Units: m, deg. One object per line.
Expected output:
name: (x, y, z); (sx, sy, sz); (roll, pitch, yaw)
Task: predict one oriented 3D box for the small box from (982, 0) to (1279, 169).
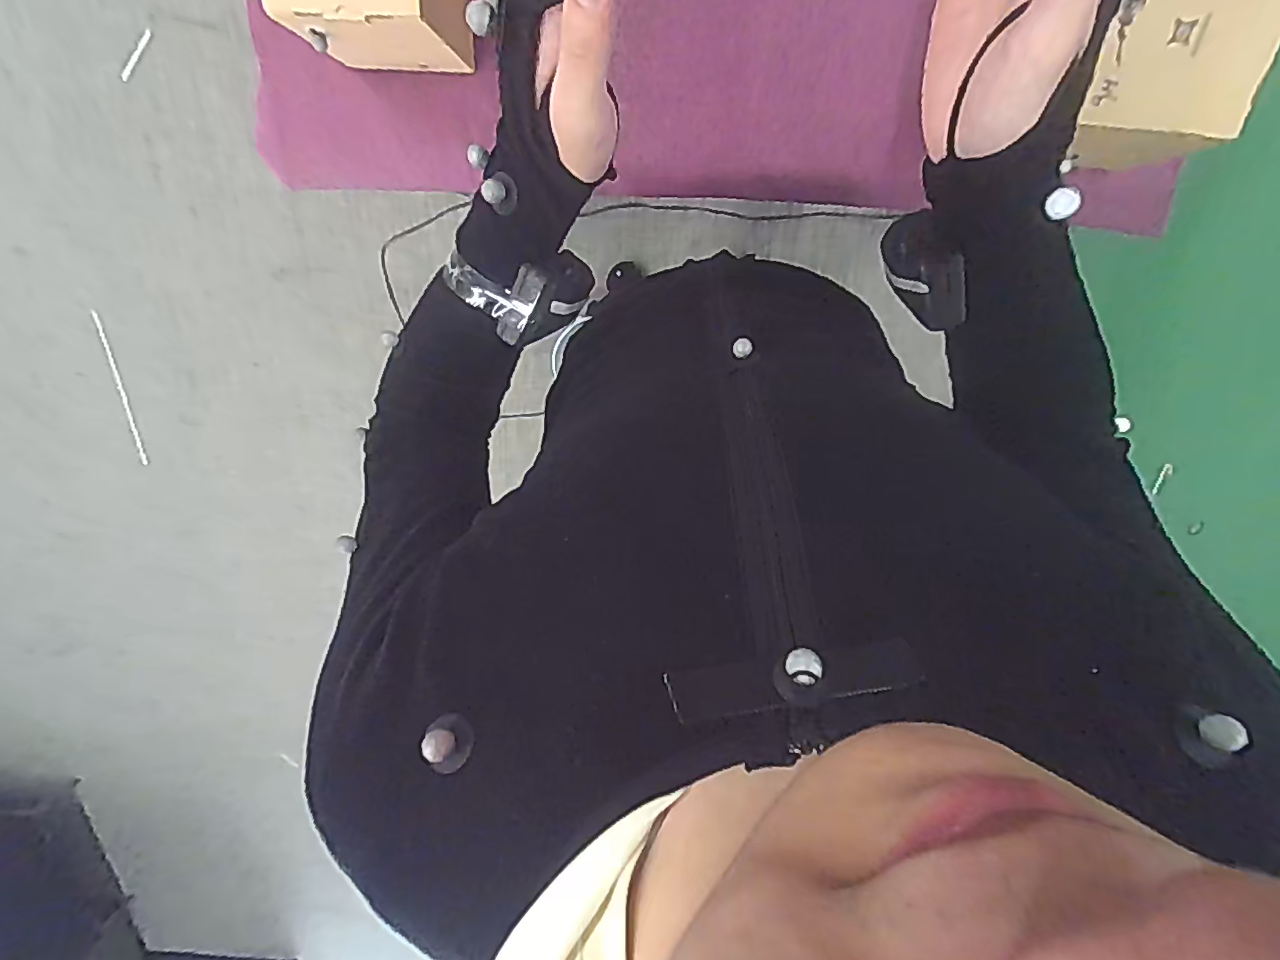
small box: (0.537, -0.462, 0.607); (0.179, 0.176, 0.168); (7, 111, 0)
